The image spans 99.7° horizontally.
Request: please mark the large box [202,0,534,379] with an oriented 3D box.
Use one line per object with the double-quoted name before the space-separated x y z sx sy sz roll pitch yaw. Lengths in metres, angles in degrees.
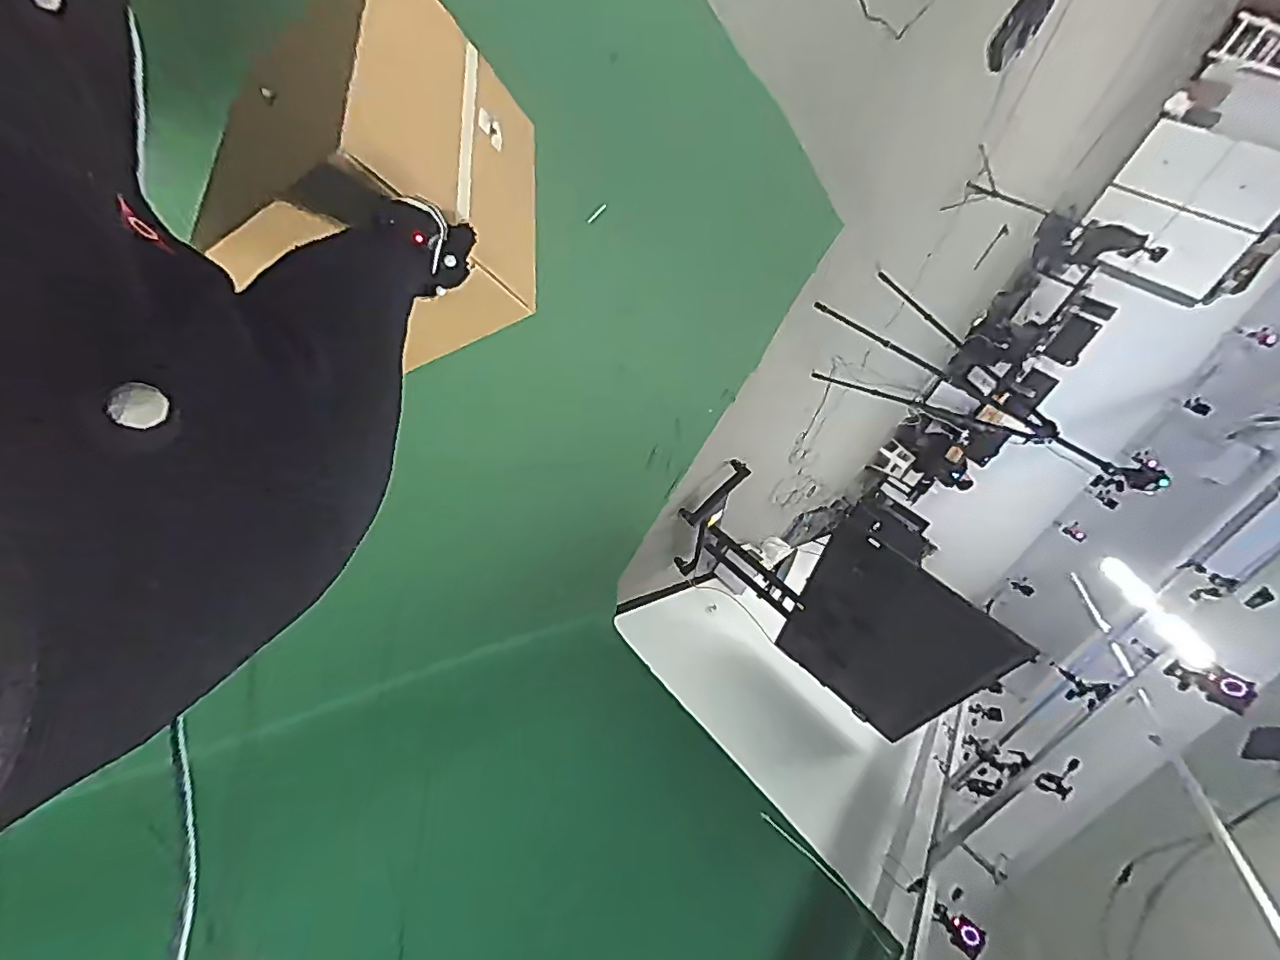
"large box" -0.383 -0.429 0.820 0.320 0.408 0.320 -16 156 24
